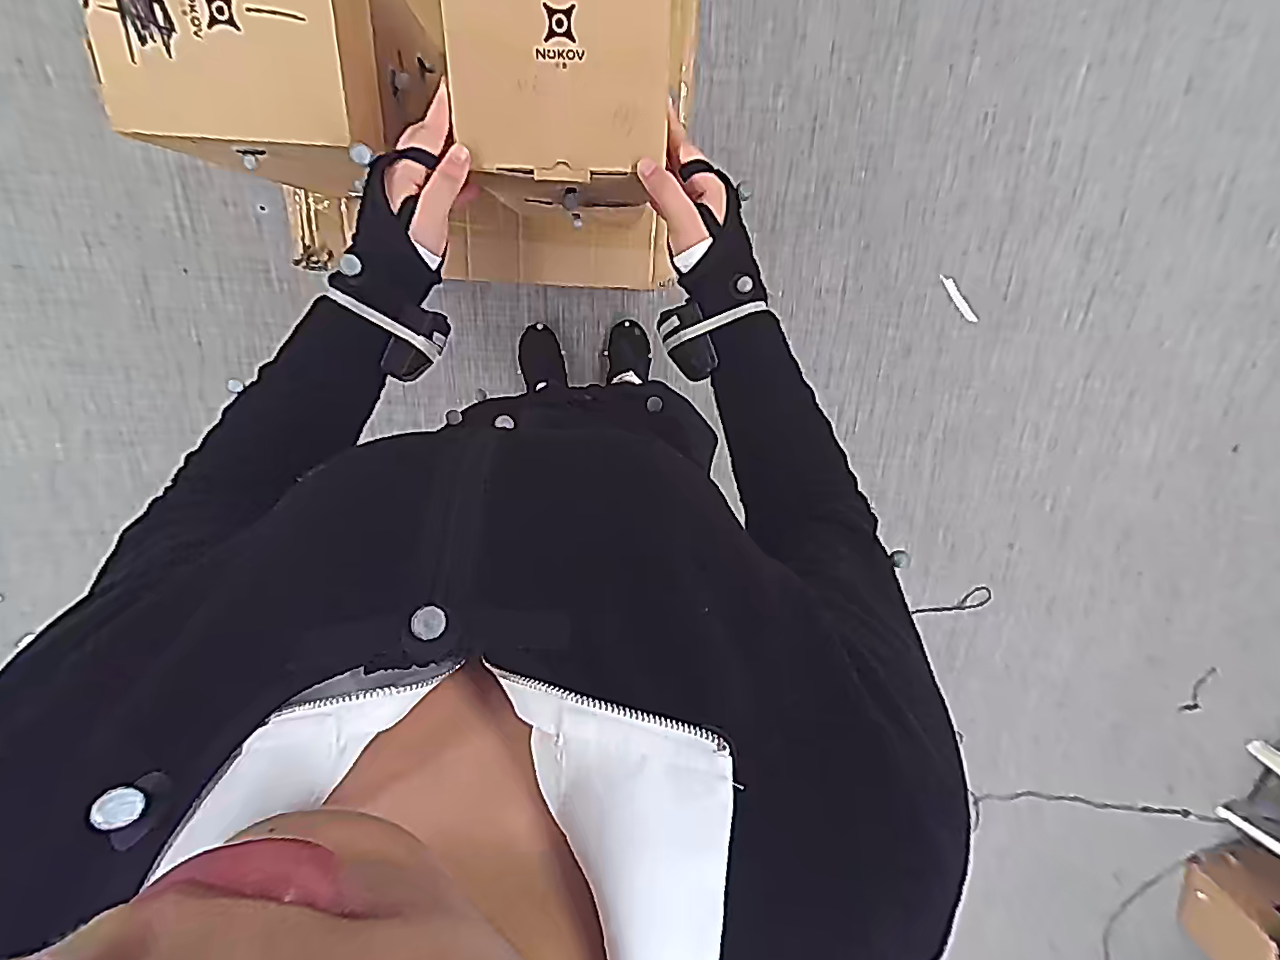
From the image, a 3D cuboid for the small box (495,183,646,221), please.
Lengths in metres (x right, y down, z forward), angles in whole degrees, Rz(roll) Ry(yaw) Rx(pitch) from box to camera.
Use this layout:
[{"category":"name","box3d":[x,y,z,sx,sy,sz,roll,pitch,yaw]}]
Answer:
[{"category":"small box","box3d":[-0.074,-0.414,0.636,0.168,0.176,0.179,2,111,-3]}]

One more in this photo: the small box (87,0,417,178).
[{"category":"small box","box3d":[-0.313,-0.368,0.464,0.179,0.176,0.168,1,110,-5]}]

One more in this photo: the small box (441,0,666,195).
[{"category":"small box","box3d":[-0.065,-0.355,0.474,0.168,0.176,0.179,0,112,-3]}]

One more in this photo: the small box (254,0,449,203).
[{"category":"small box","box3d":[-0.326,-0.428,0.617,0.168,0.176,0.179,1,111,-4]}]
